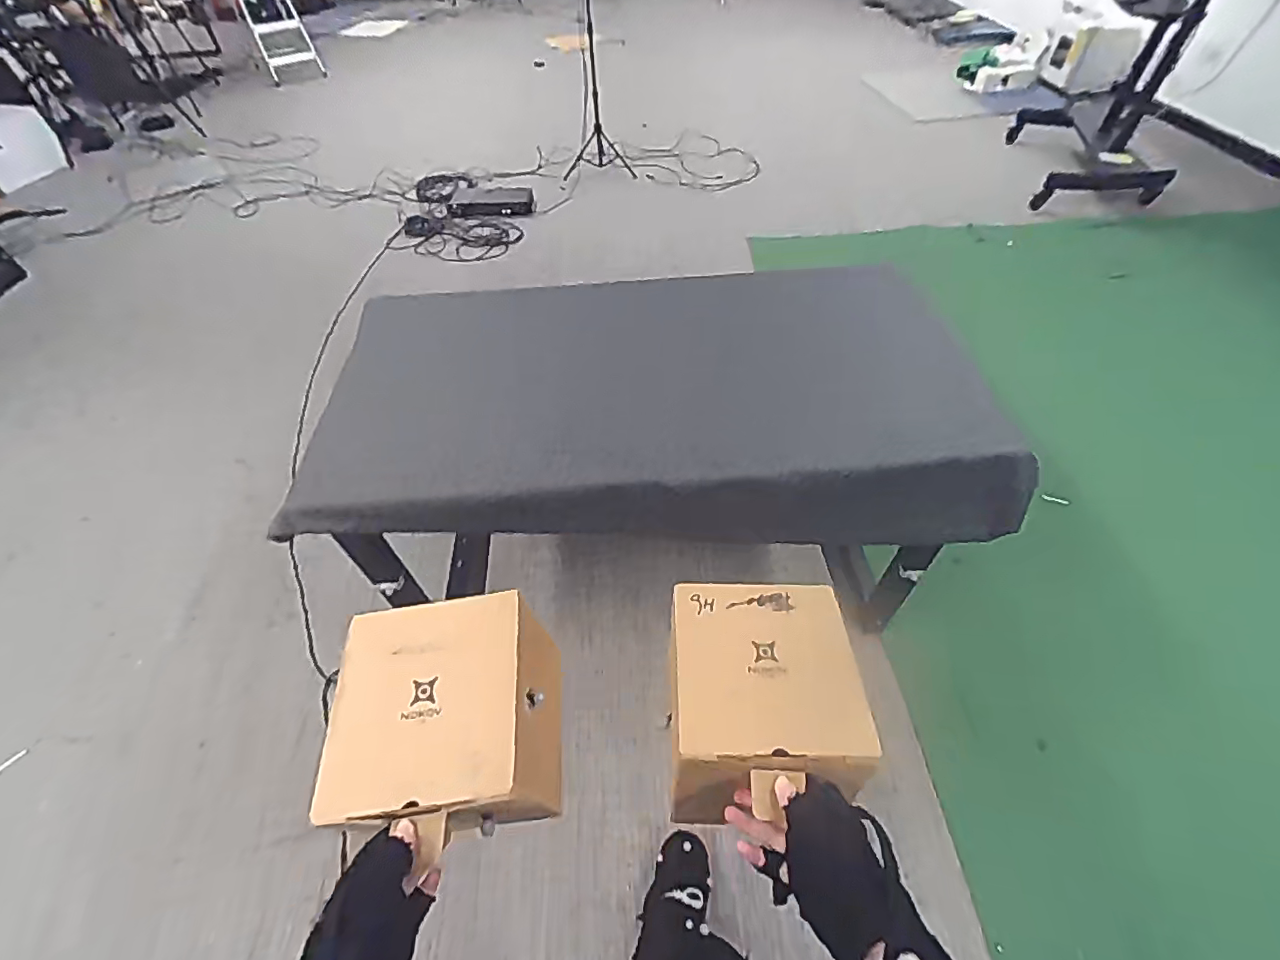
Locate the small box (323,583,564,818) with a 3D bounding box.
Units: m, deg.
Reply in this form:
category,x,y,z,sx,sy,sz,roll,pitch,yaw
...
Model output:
category,x,y,z,sx,sy,sz,roll,pitch,yaw
small box,-0.177,0.229,0.547,0.168,0.176,0.179,-10,53,1
